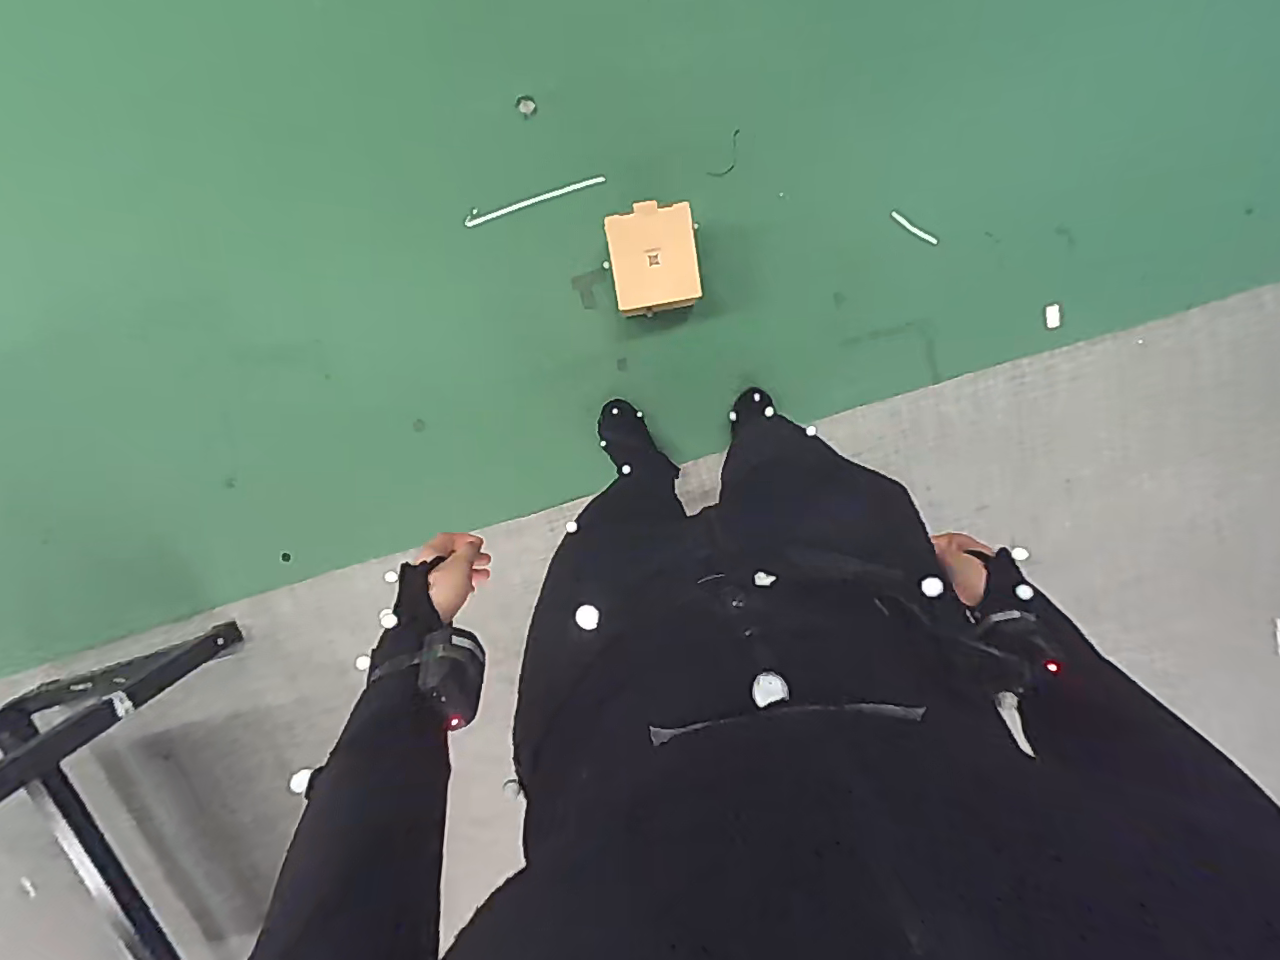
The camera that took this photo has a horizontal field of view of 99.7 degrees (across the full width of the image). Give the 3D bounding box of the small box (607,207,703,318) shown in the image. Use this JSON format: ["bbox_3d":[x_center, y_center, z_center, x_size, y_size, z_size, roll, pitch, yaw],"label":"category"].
[{"bbox_3d":[0.032,-0.438,1.117,0.168,0.176,0.179,-10,101,2],"label":"small box"}]
